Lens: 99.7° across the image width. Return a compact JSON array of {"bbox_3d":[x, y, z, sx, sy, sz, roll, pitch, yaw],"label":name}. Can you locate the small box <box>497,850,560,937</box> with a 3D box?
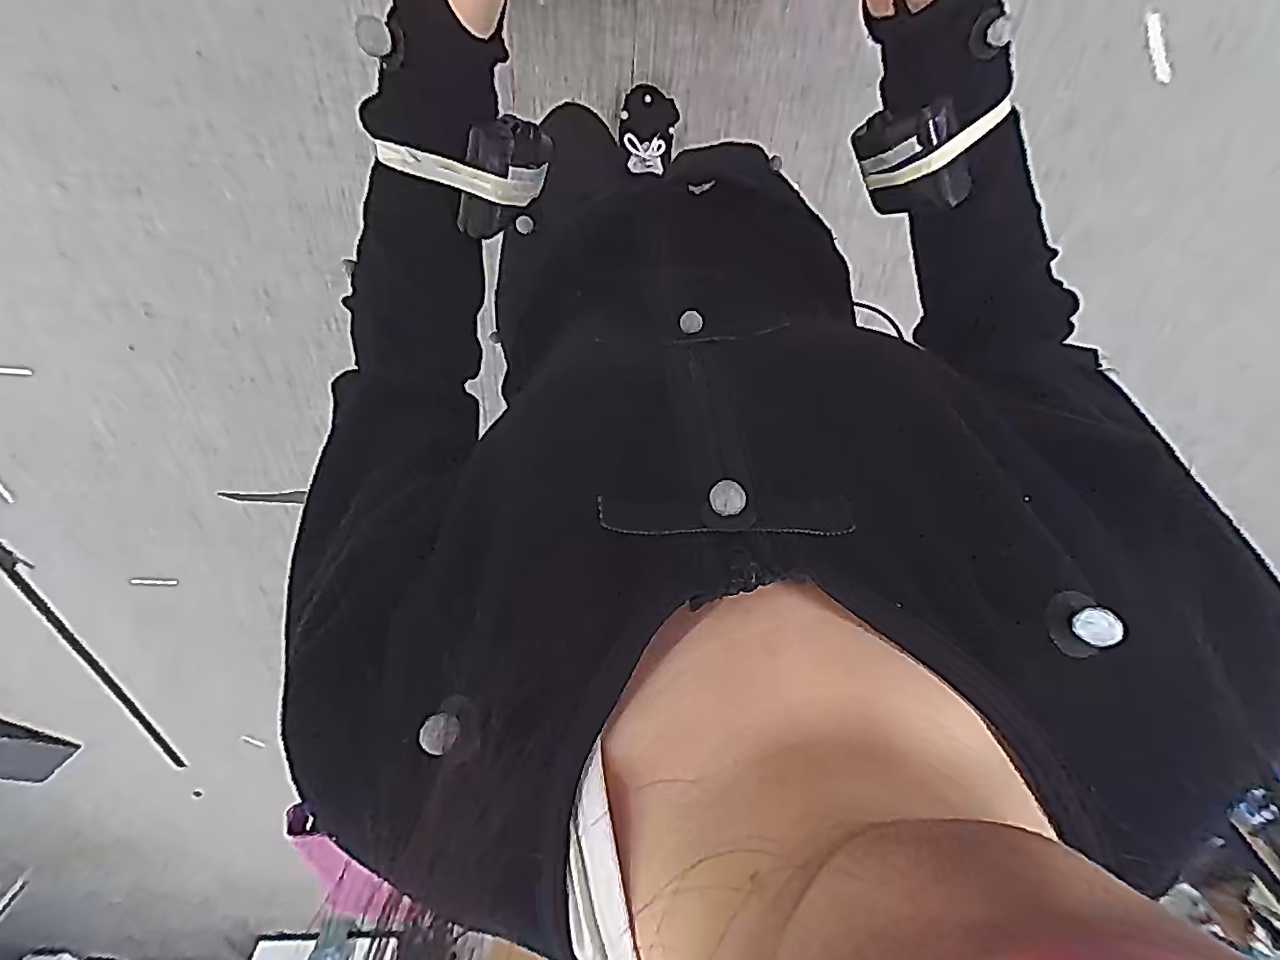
[{"bbox_3d":[-0.325,1.222,1.599,0.168,0.176,0.179,4,127,-7],"label":"small box"}]
